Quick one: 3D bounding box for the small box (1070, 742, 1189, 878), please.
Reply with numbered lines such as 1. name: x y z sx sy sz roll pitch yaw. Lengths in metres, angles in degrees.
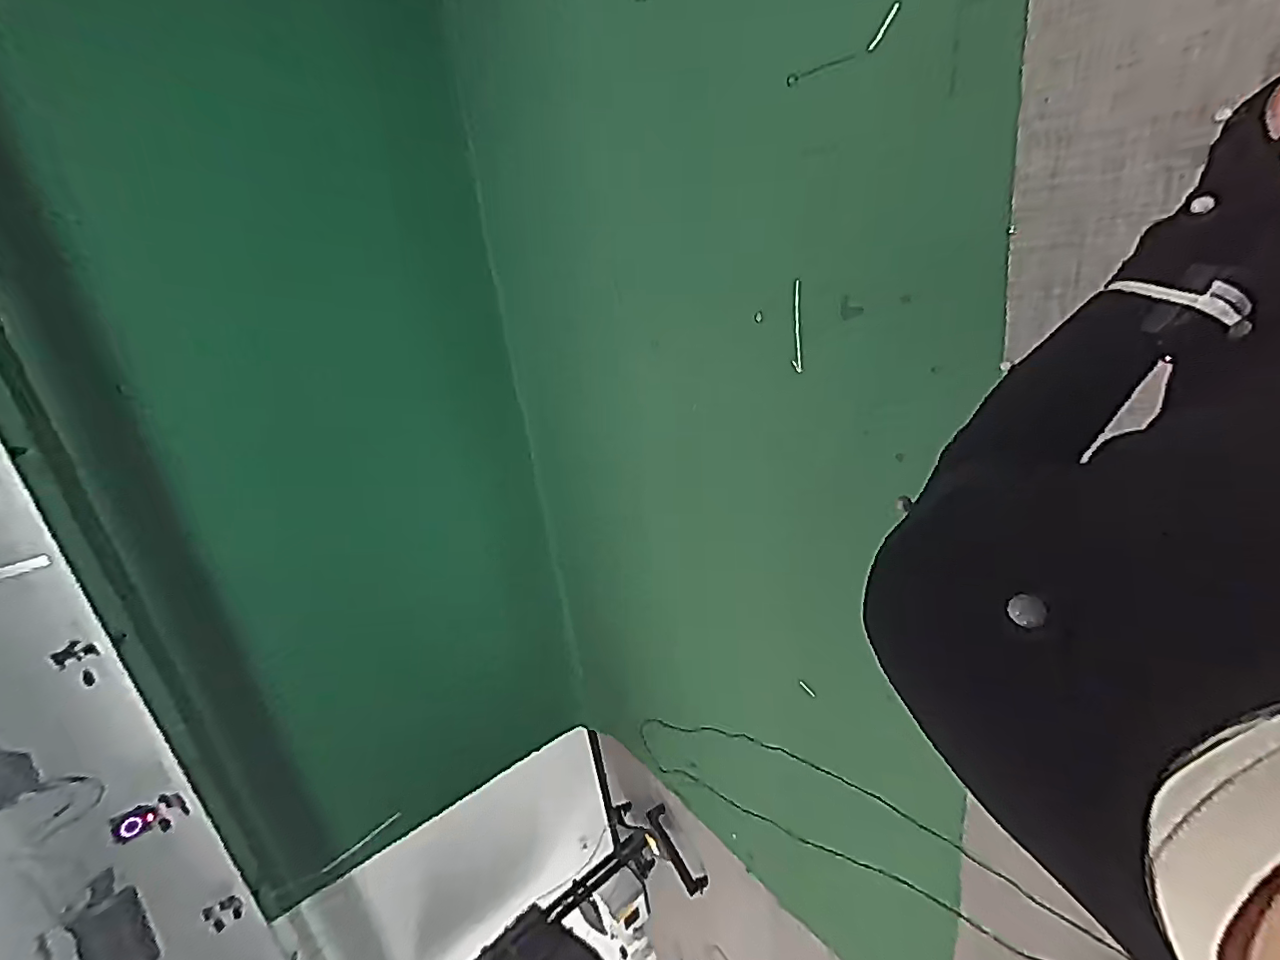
1. small box: 1.164 0.775 1.288 0.168 0.176 0.179 18 120 50
